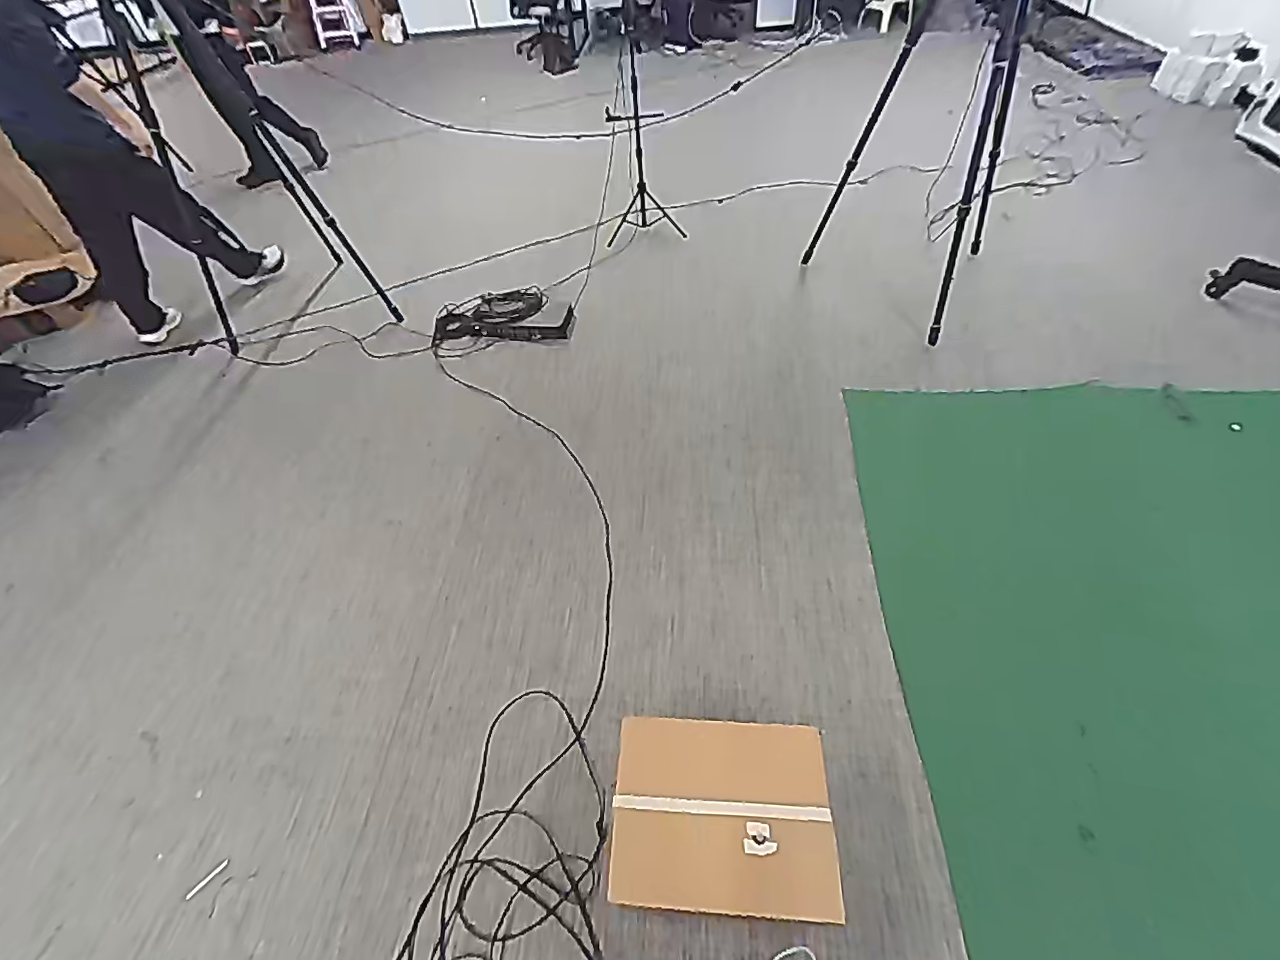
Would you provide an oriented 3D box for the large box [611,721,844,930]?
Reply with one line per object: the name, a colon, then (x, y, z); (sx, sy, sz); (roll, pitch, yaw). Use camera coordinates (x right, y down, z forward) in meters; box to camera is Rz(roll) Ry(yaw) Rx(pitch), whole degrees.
large box: (0.161, 0.719, 1.124); (0.408, 0.320, 0.320); (1, 50, 5)
